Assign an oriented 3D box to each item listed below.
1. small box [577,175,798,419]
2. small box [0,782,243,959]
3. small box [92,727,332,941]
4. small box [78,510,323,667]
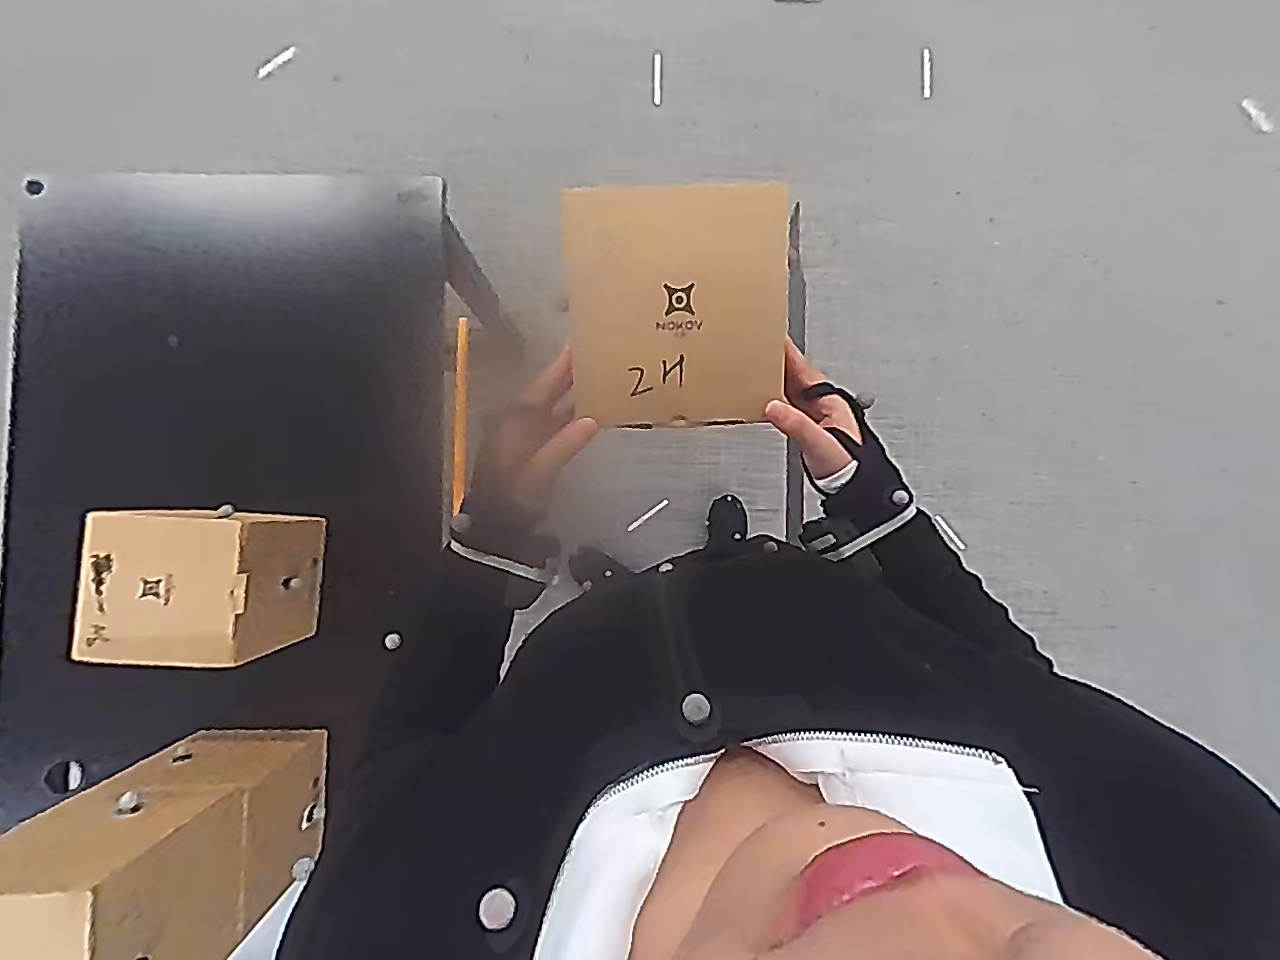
[{"bbox_3d":[0.034,-0.151,0.486,0.168,0.176,0.179,-2,104,0],"label":"small box"},{"bbox_3d":[-0.509,0.413,0.503,0.168,0.176,0.179,-1,87,-1],"label":"small box"},{"bbox_3d":[-0.515,0.421,0.667,0.179,0.176,0.168,-1,88,-2],"label":"small box"},{"bbox_3d":[-0.532,0.125,0.681,0.179,0.176,0.168,3,87,-2],"label":"small box"}]
